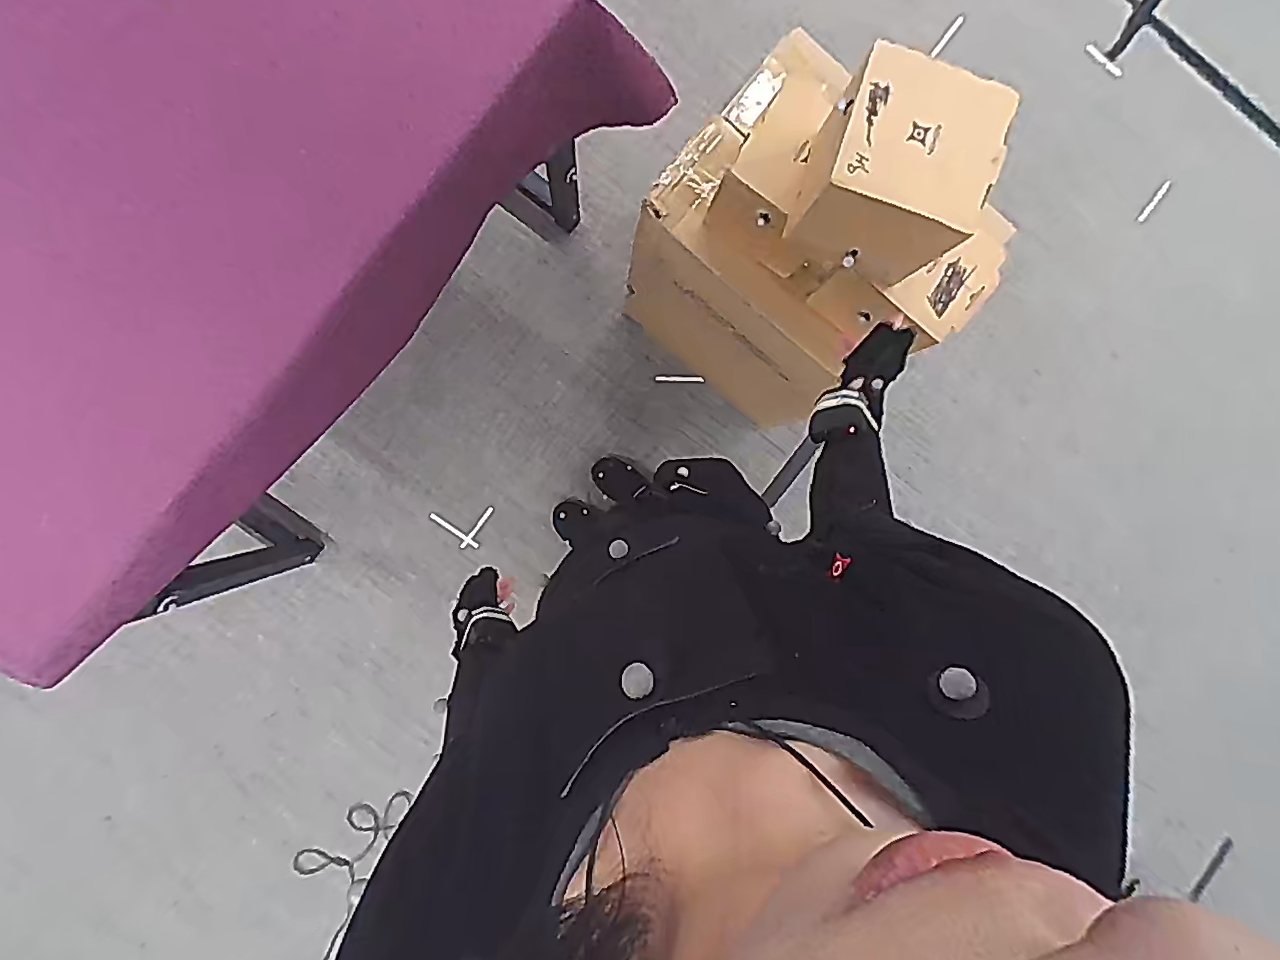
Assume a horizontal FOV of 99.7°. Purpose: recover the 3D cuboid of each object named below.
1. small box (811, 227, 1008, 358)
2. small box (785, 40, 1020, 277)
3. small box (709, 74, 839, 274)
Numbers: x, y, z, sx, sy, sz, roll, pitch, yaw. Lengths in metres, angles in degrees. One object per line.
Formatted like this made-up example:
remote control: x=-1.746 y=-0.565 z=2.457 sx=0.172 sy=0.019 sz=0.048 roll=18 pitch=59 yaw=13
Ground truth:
small box: x=0.404 y=-0.309 z=0.840 sx=0.179 sy=0.176 sz=0.168 roll=39 pitch=88 yaw=-2
small box: x=0.307 y=-0.375 z=0.669 sx=0.179 sy=0.176 sz=0.168 roll=18 pitch=90 yaw=-4
small box: x=0.228 y=-0.447 z=0.827 sx=0.179 sy=0.176 sz=0.168 roll=34 pitch=90 yaw=-5
